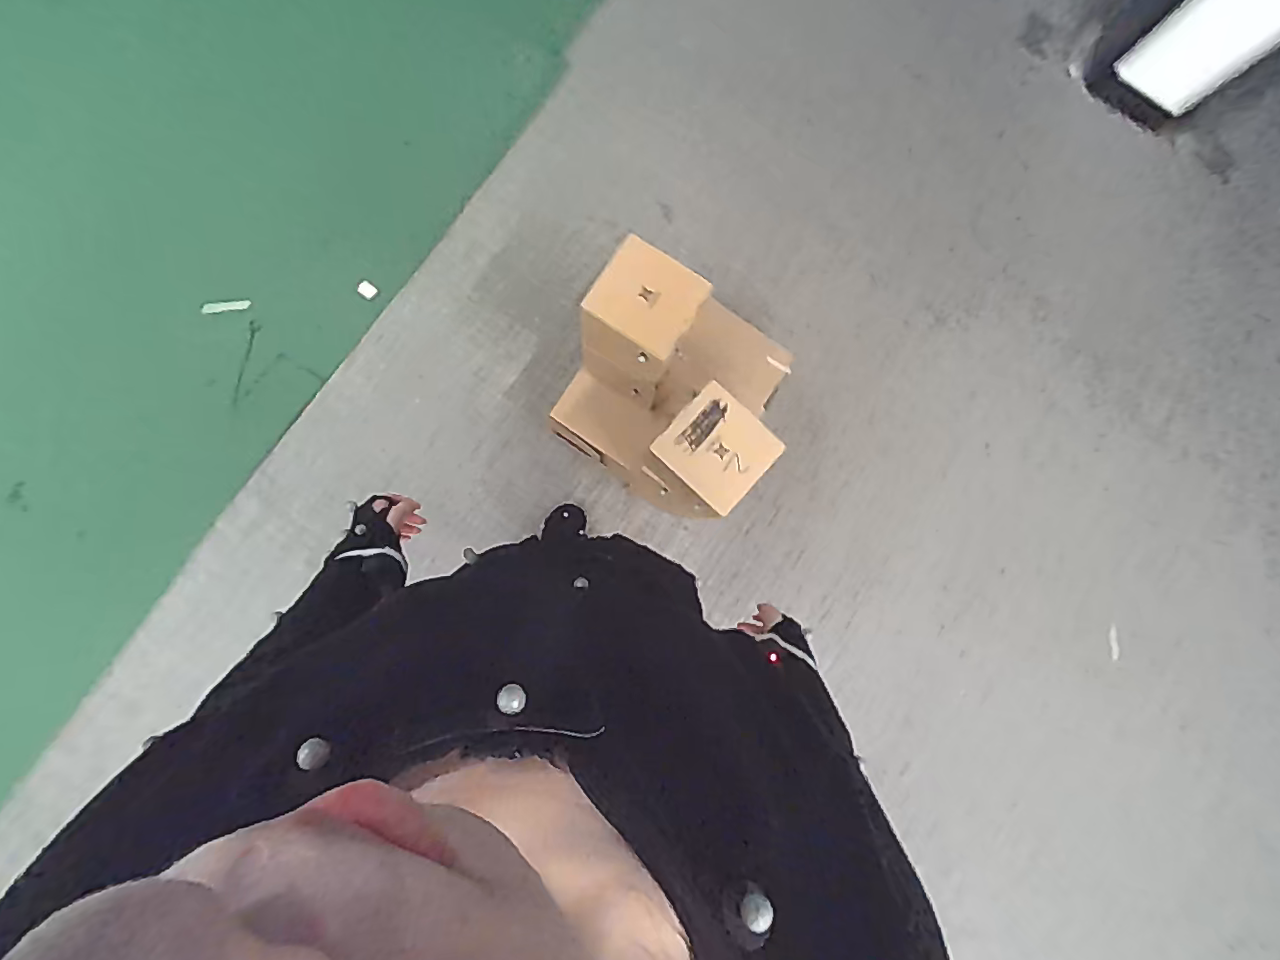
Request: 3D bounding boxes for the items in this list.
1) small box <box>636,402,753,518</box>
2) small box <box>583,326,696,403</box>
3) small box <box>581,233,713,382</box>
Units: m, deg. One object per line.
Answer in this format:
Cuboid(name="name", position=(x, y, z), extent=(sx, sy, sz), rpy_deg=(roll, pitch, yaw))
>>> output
Cuboid(name="small box", position=(0.105, -0.035, 1.152), extent=(0.168, 0.176, 0.179), rpy_deg=(39, 82, -1))
Cuboid(name="small box", position=(-0.006, -0.284, 1.169), extent=(0.179, 0.176, 0.168), rpy_deg=(32, 81, -1))
Cuboid(name="small box", position=(0.005, -0.308, 1.008), extent=(0.179, 0.176, 0.168), rpy_deg=(33, 81, -2))
